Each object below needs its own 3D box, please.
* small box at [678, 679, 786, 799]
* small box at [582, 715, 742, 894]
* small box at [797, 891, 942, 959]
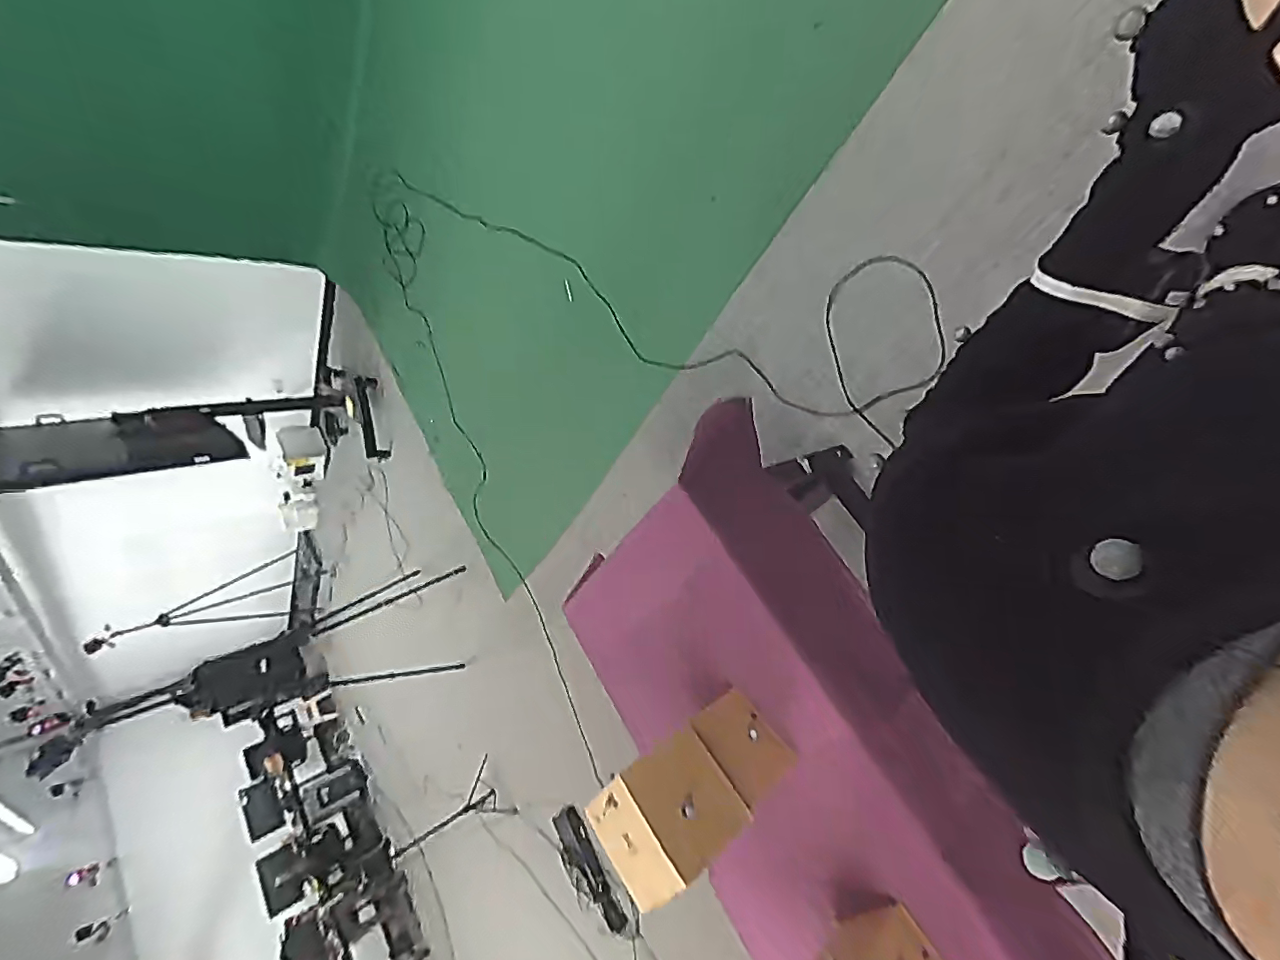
[{"bbox_3d":[0.146,0.521,1.033,0.168,0.176,0.179,46,130,27],"label":"small box"},{"bbox_3d":[0.037,0.537,0.910,0.179,0.176,0.168,50,131,24],"label":"small box"},{"bbox_3d":[0.379,0.814,0.877,0.168,0.176,0.179,52,133,24],"label":"small box"}]
